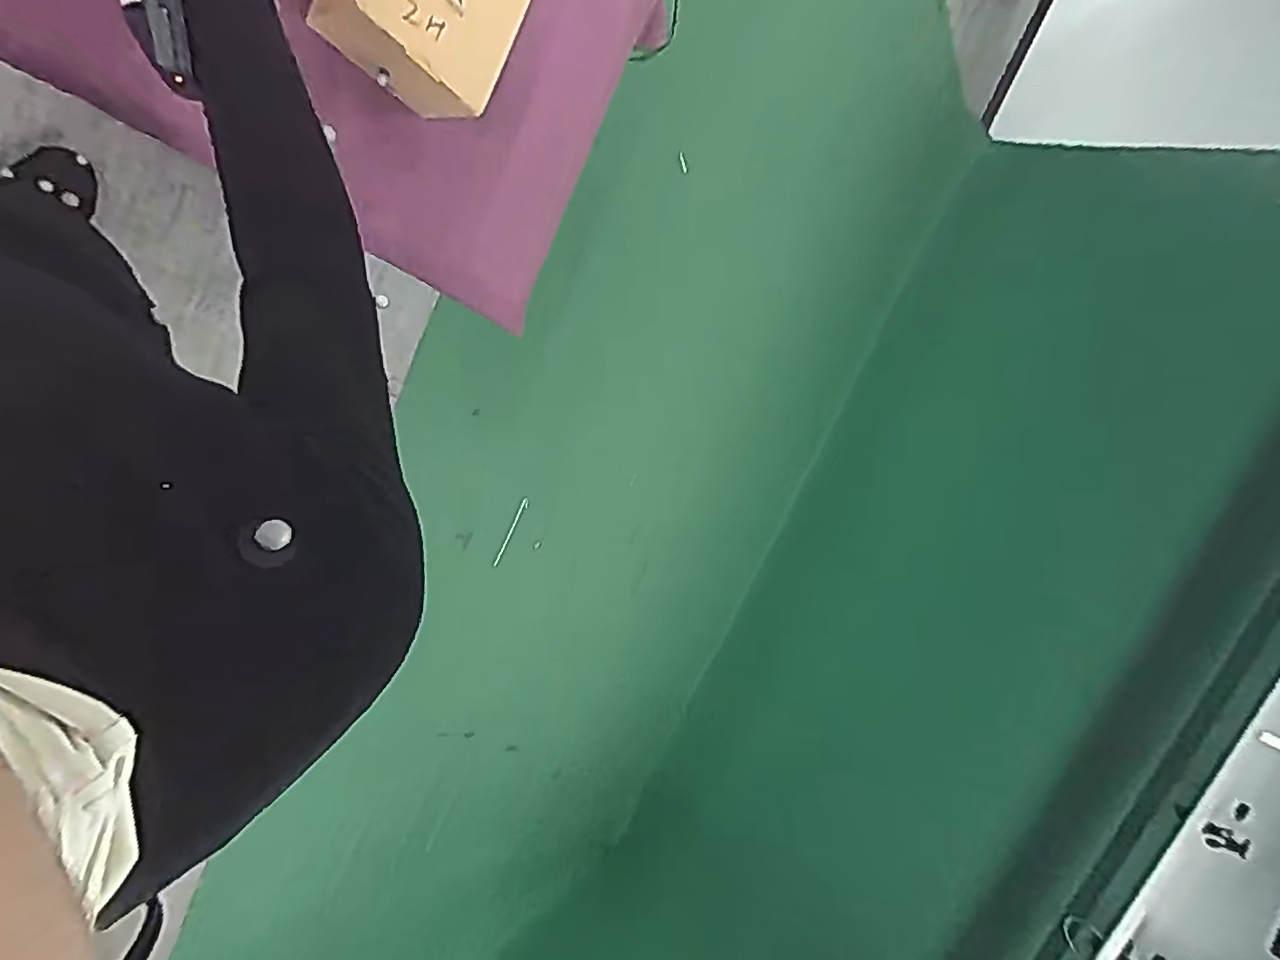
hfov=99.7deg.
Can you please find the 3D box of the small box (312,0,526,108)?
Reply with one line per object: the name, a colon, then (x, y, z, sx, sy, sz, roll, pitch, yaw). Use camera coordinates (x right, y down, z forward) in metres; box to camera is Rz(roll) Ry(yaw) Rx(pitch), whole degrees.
small box: (-0.269, -0.597, 0.662, 0.168, 0.176, 0.179, 19, 99, -52)
